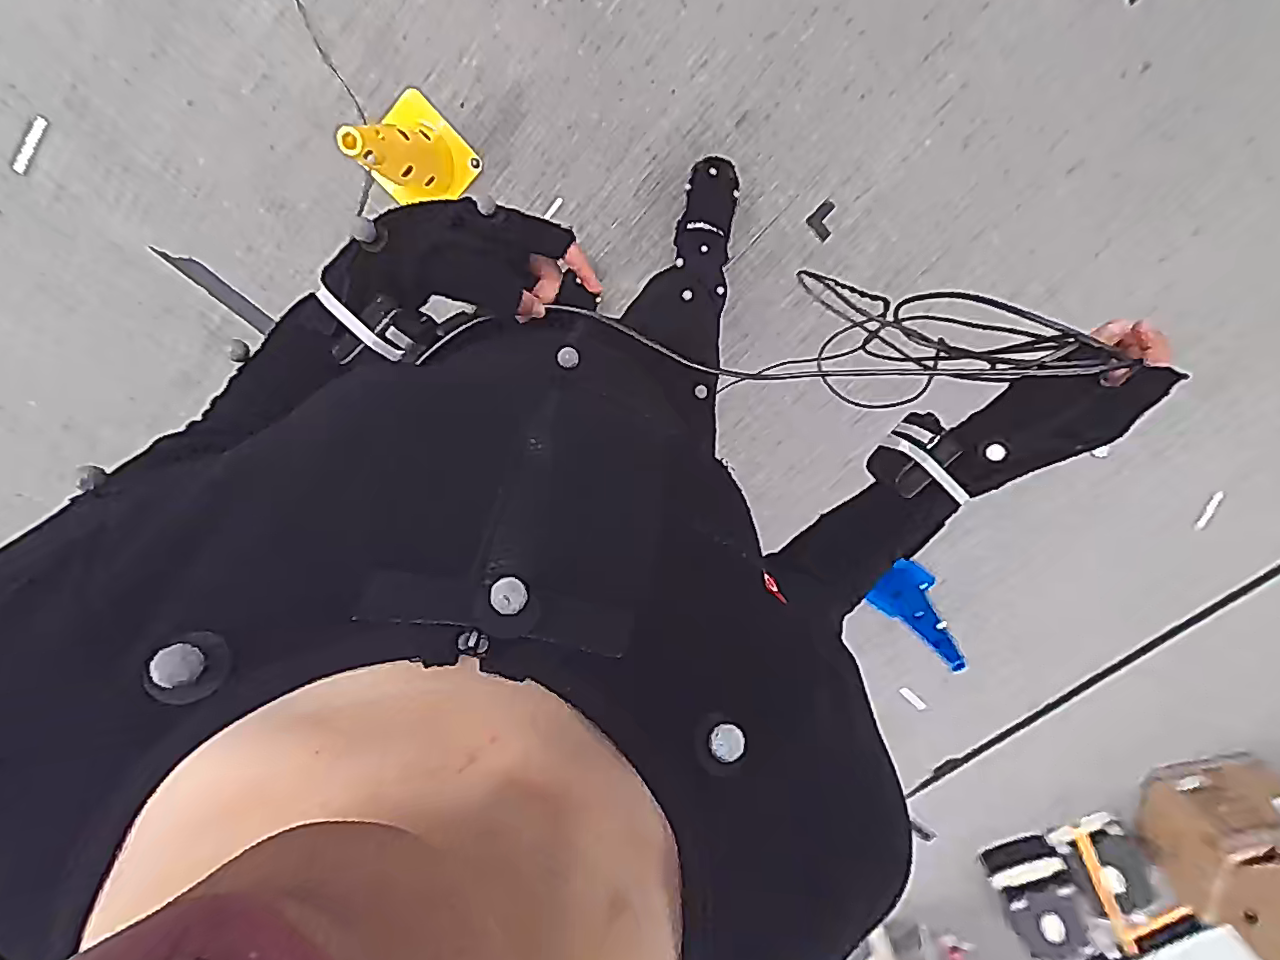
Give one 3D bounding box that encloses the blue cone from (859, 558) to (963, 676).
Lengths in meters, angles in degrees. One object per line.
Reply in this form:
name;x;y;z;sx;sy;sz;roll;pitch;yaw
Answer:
blue cone;0.833;0.415;1.589;0.193;0.380;0.192;36;109;-18
